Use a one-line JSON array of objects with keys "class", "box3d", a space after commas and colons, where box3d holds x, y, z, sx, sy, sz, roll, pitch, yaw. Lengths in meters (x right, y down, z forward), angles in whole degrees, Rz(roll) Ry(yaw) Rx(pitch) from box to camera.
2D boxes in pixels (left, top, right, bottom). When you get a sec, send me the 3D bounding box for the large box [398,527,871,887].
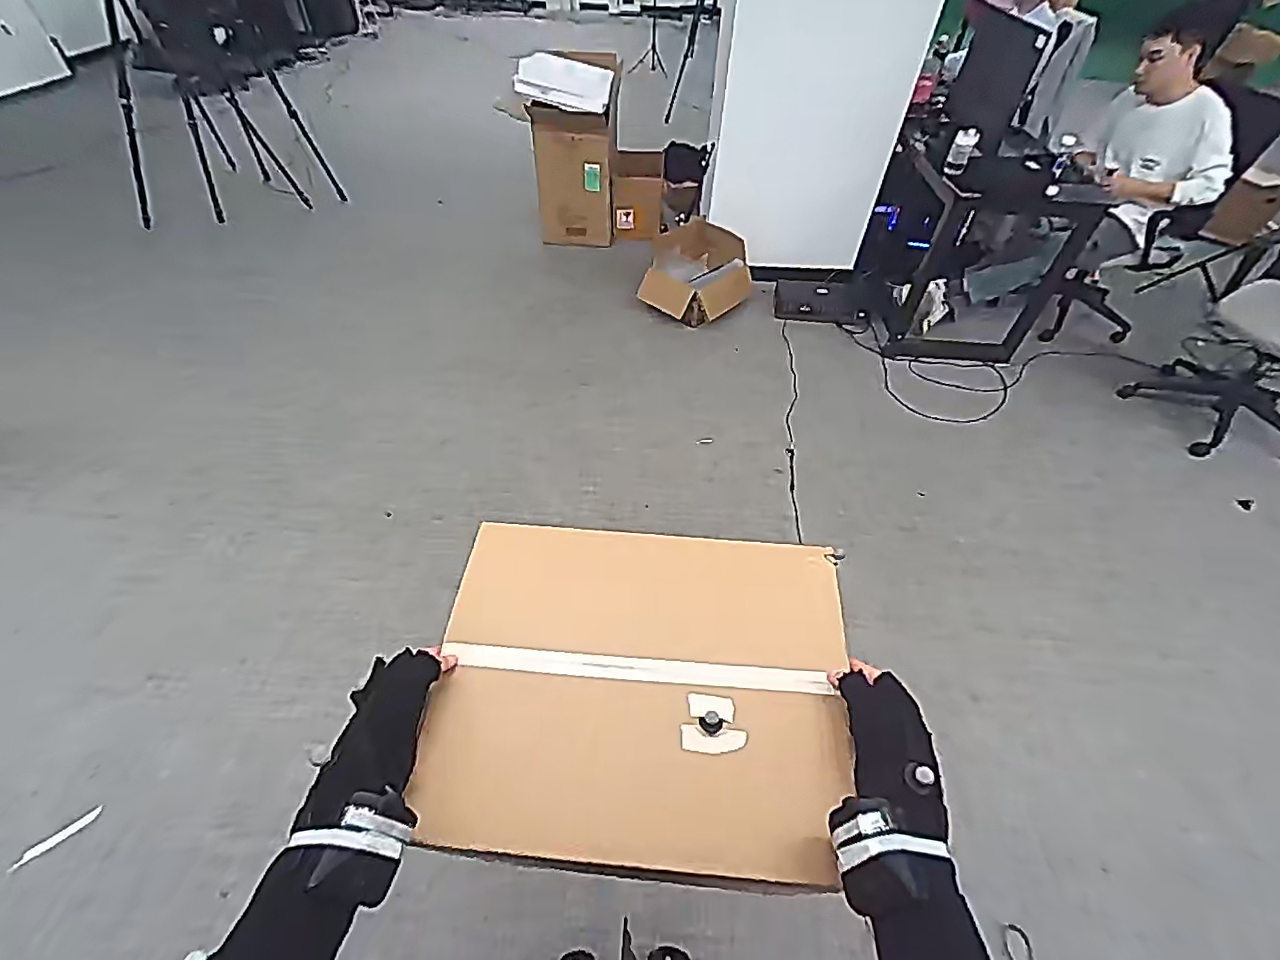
[{"class": "large box", "box3d": [0.000, 0.279, 0.653, 0.408, 0.320, 0.320, 4, 52, 3]}]
